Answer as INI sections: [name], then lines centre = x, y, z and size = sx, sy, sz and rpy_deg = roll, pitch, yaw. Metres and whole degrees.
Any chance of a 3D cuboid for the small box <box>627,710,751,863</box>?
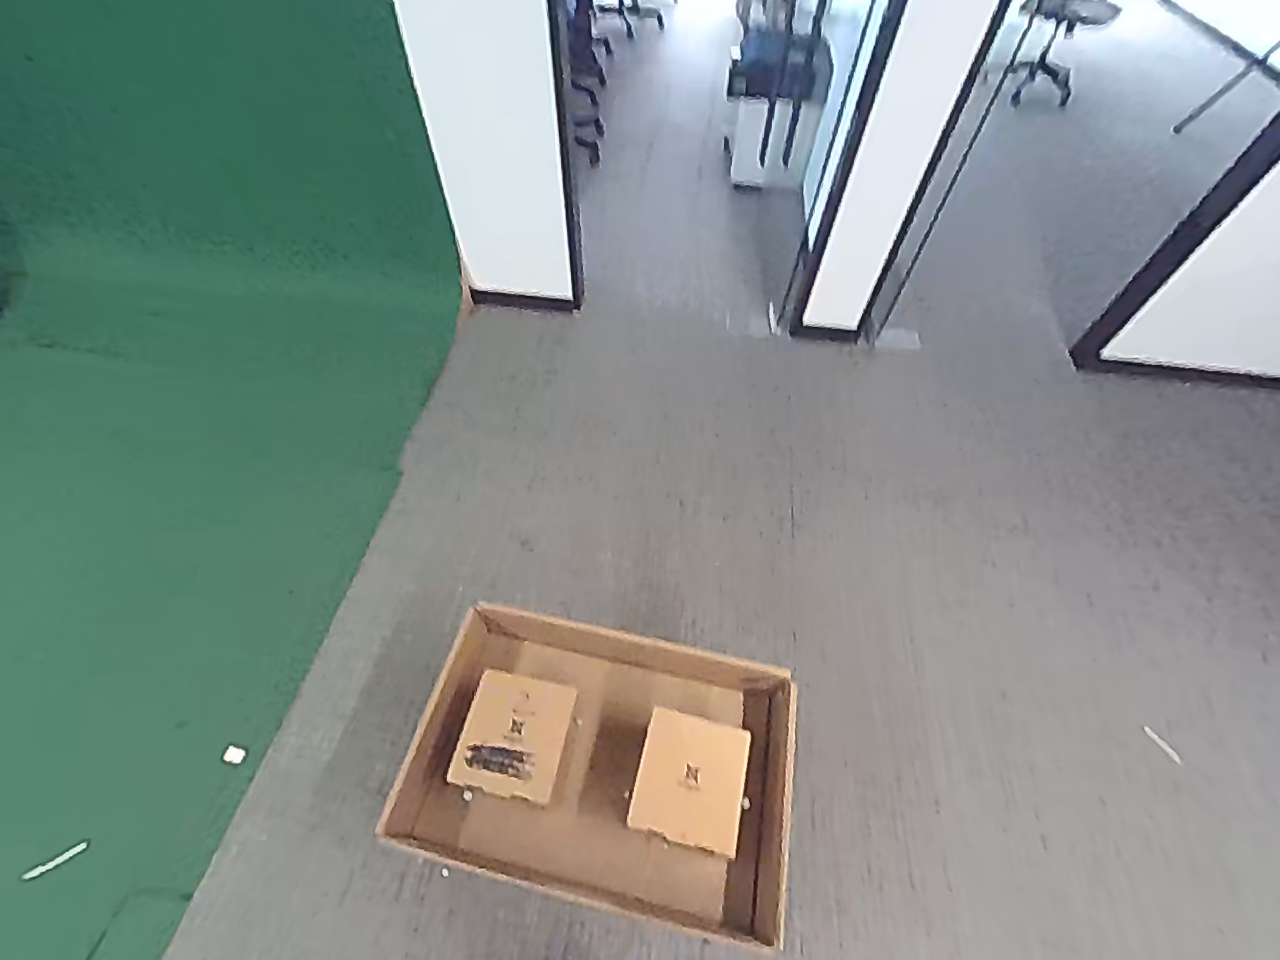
[small box]
centre = 0.076, 0.511, 0.901
size = 0.168, 0.176, 0.179
rpy_deg = 13, 56, 7
